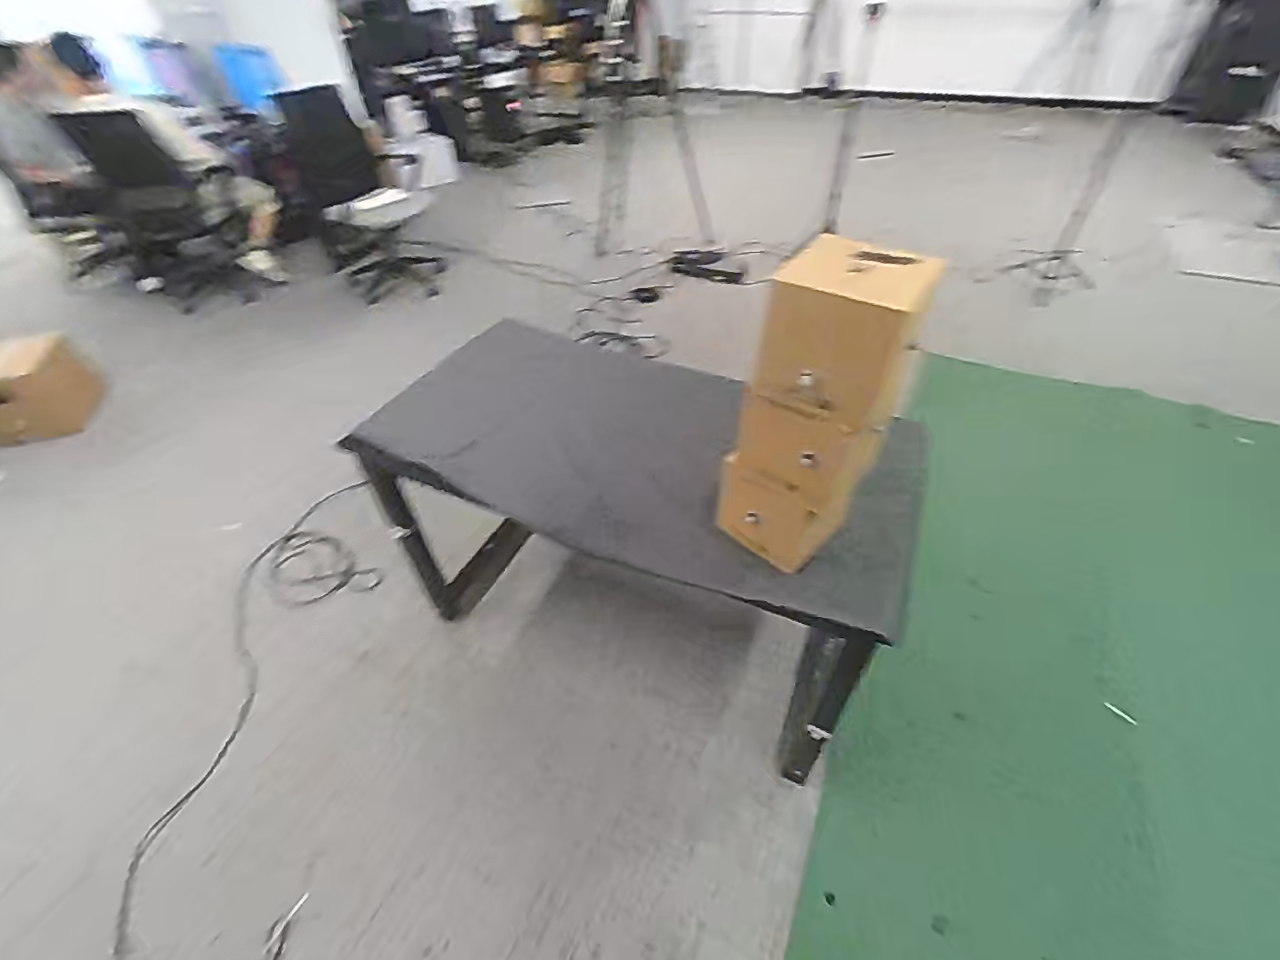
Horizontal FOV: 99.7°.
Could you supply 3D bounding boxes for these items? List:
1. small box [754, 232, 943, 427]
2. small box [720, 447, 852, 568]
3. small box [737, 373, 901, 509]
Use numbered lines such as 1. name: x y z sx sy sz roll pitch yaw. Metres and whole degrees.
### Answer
1. small box: 0.264 -0.200 0.711 0.168 0.176 0.179 25 49 25
2. small box: 0.255 0.022 0.952 0.179 0.176 0.168 -33 51 -31
3. small box: 0.264 -0.086 0.829 0.168 0.176 0.179 31 50 29
